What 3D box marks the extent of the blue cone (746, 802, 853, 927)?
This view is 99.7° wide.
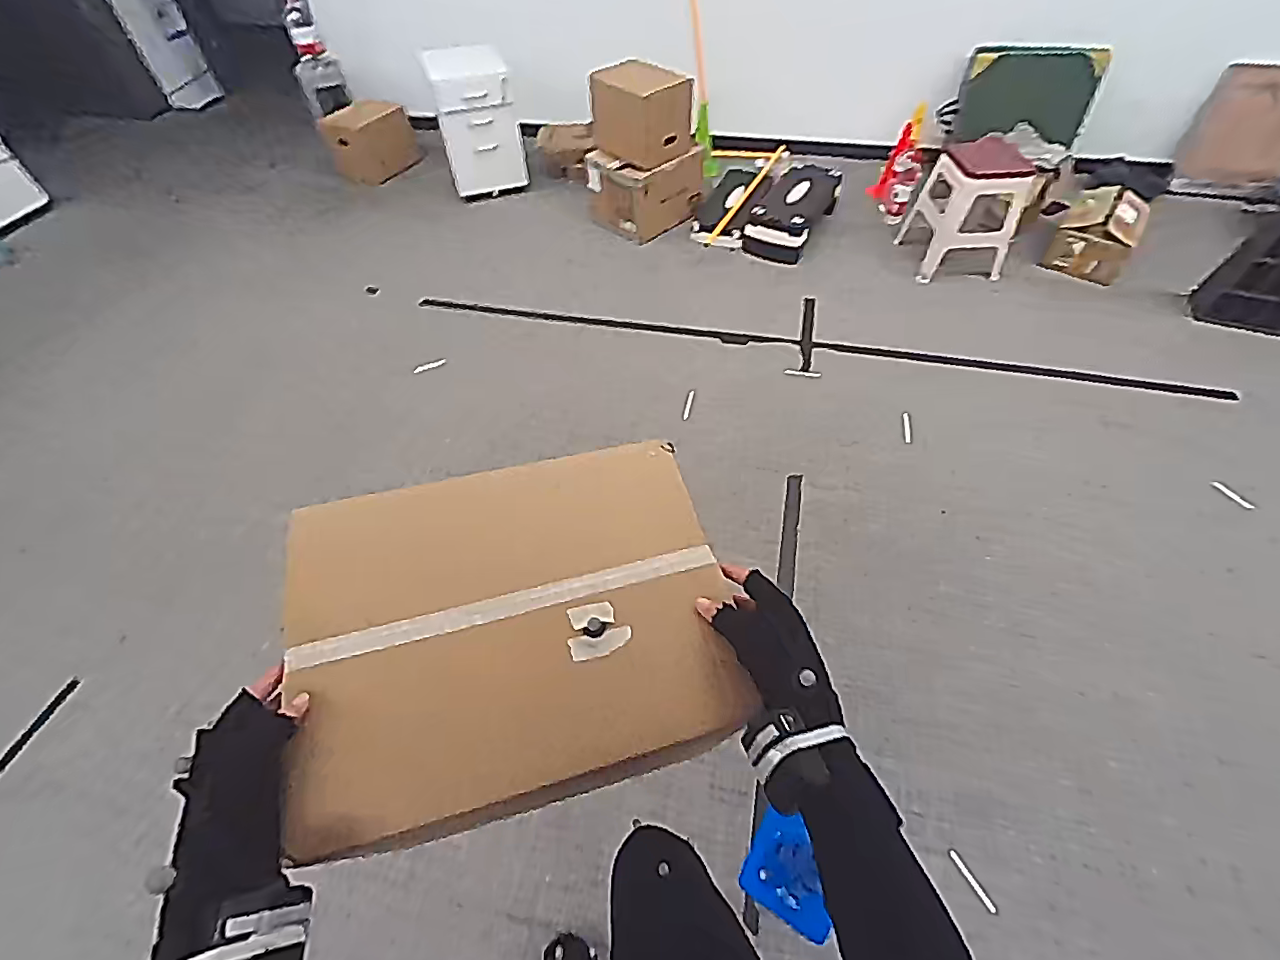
[{"bbox_3d":[0.346,0.745,1.067,0.193,0.380,0.192,28,57,21],"label":"blue cone"}]

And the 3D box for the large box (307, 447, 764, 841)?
[{"bbox_3d":[-0.123,0.203,0.661,0.408,0.320,0.320,-11,59,-12],"label":"large box"}]
